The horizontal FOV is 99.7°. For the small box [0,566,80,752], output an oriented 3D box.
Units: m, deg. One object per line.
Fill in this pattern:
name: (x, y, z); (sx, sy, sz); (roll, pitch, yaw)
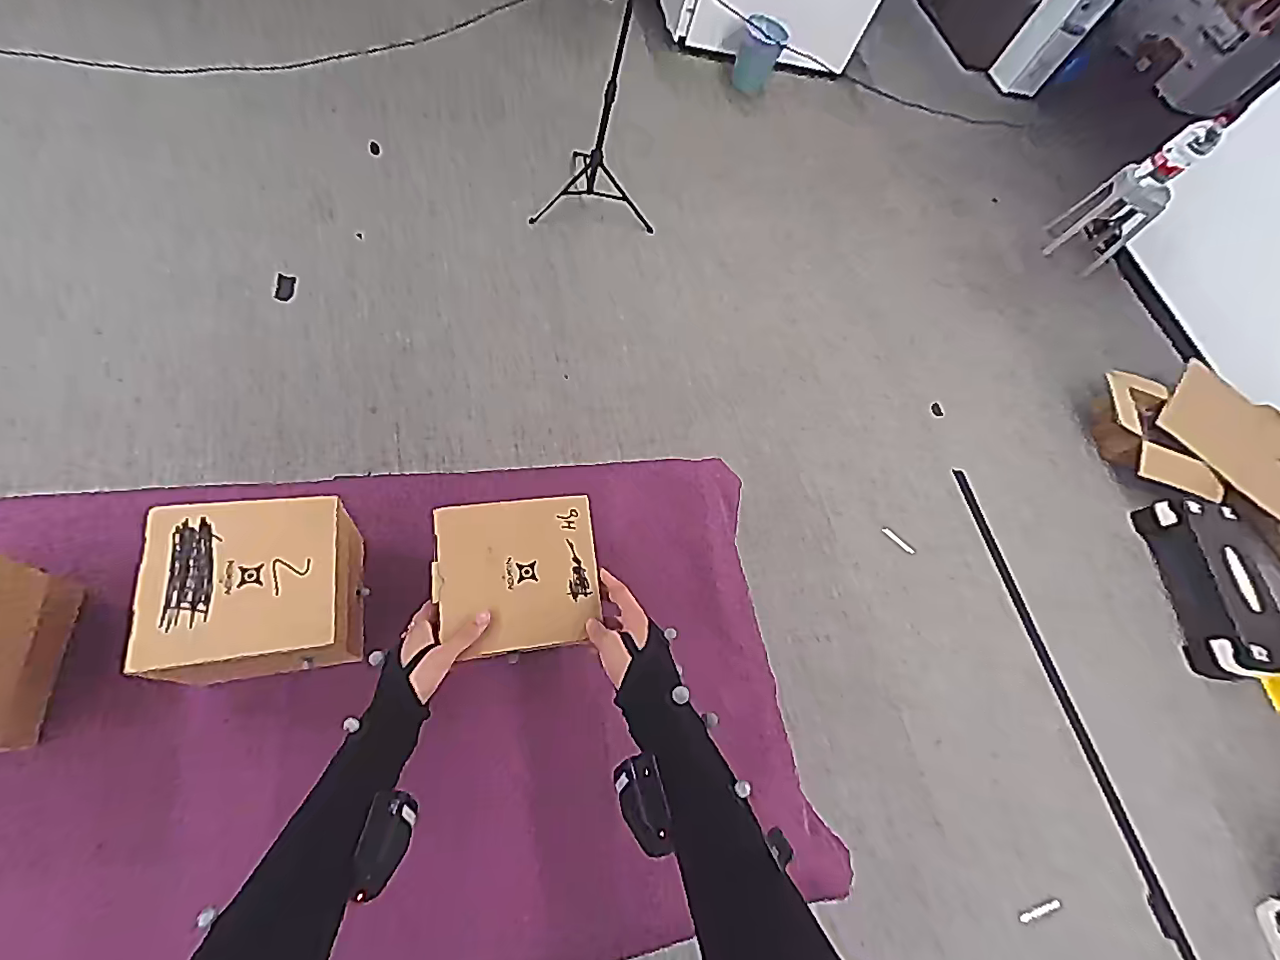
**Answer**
small box: (-0.704, 0.173, 0.516); (0.168, 0.176, 0.179); (2, 65, -16)
